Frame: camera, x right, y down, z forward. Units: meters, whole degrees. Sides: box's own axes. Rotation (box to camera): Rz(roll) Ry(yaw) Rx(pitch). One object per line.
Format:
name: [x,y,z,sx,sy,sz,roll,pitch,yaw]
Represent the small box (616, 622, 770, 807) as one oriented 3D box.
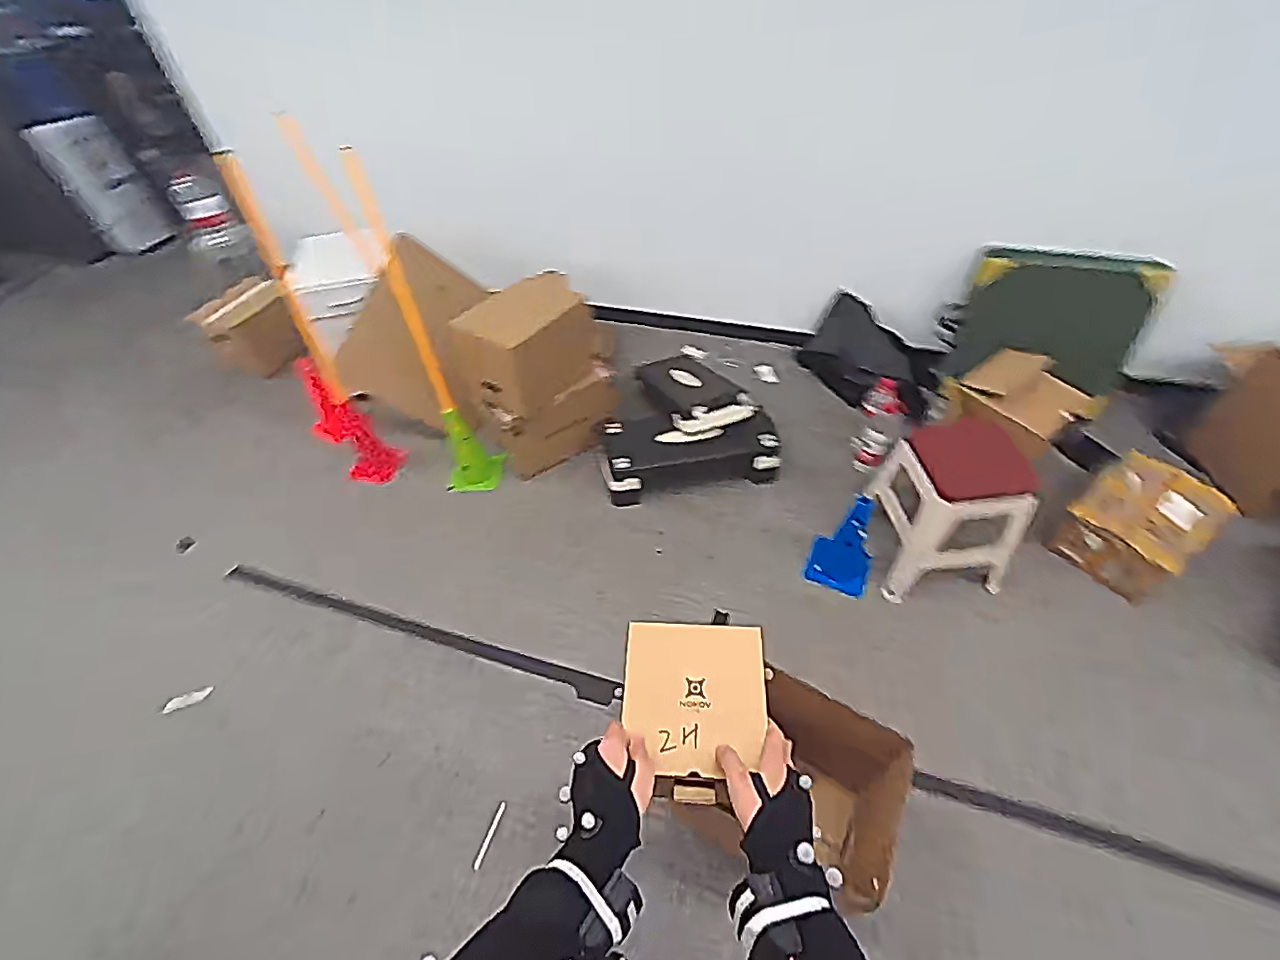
small box: [0.063,0.297,0.681,0.168,0.176,0.179,1,54,4]
